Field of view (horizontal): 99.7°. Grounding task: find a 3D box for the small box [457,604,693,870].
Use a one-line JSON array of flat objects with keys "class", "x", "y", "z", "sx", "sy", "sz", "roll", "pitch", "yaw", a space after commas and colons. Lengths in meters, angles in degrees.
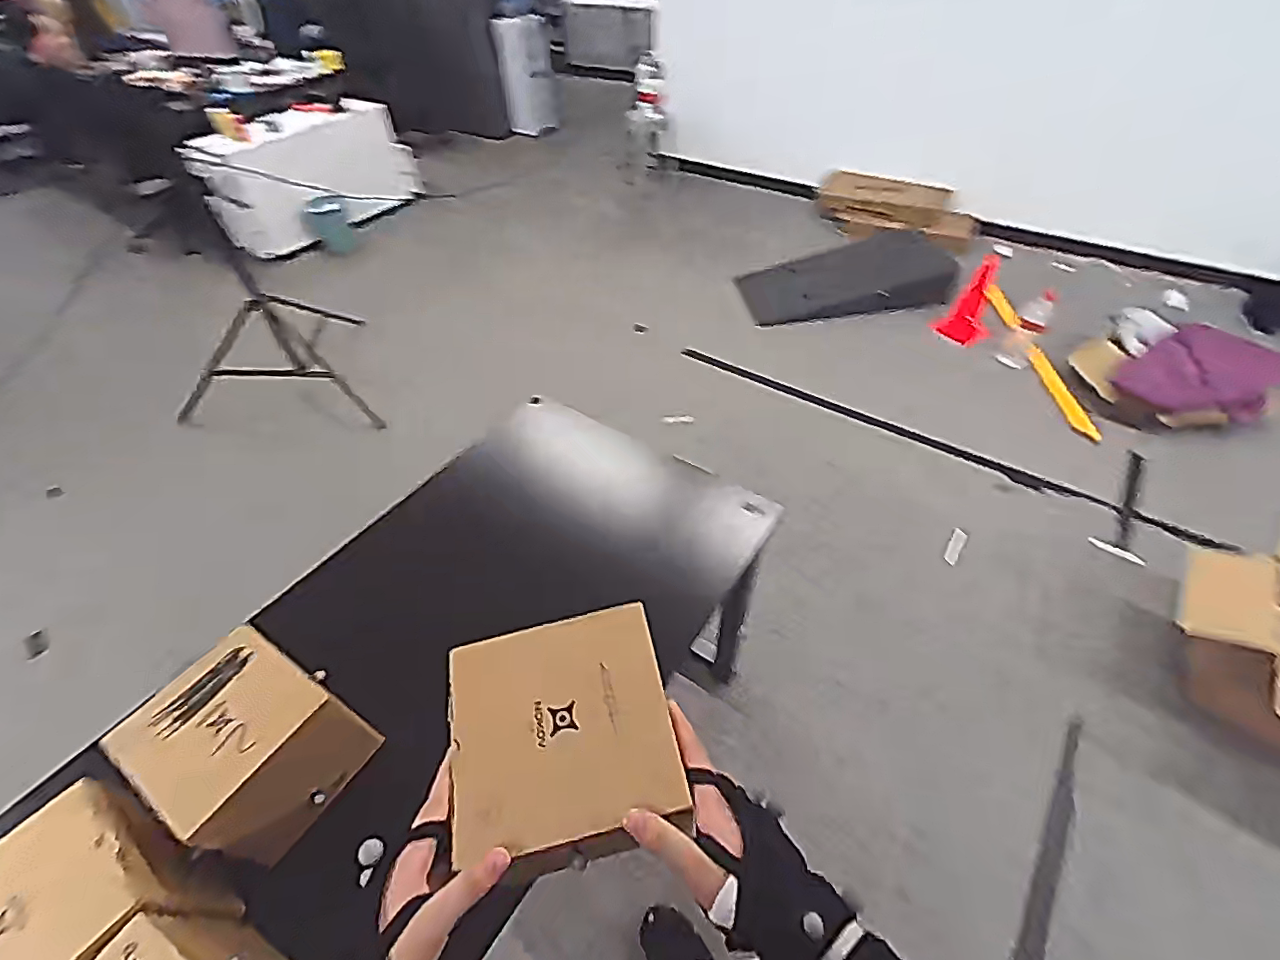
[{"class": "small box", "x": -0.054, "y": 0.242, "z": 0.502, "sx": 0.179, "sy": 0.176, "sz": 0.168, "roll": -13, "pitch": 53, "yaw": -5}]
